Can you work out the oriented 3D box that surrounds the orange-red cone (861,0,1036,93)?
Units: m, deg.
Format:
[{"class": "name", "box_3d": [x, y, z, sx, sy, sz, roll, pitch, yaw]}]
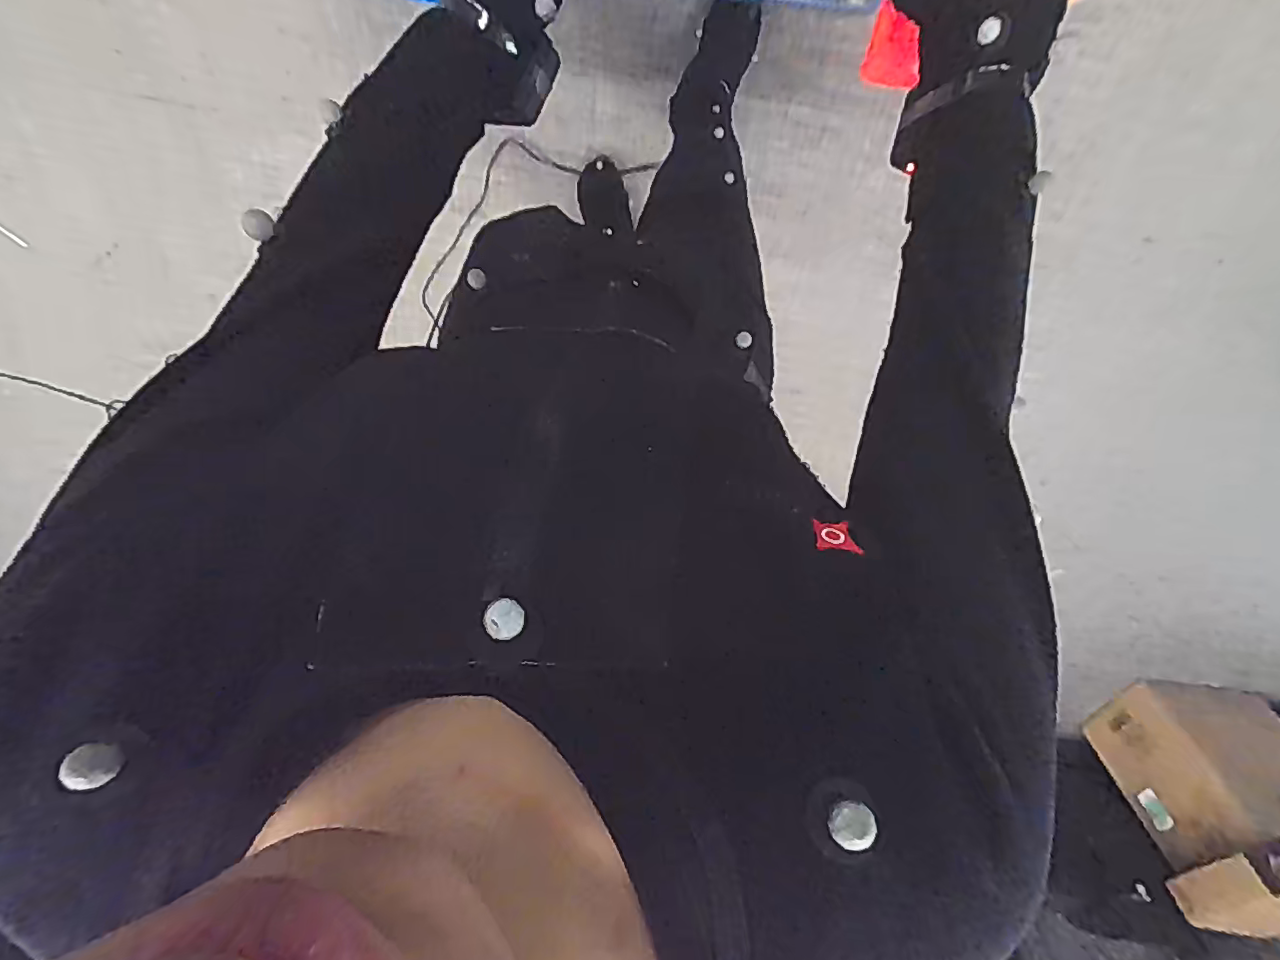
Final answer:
[{"class": "orange-red cone", "box_3d": [0.537, -0.766, 0.892, 0.199, 0.360, 0.198, 9, 127, -3]}]
